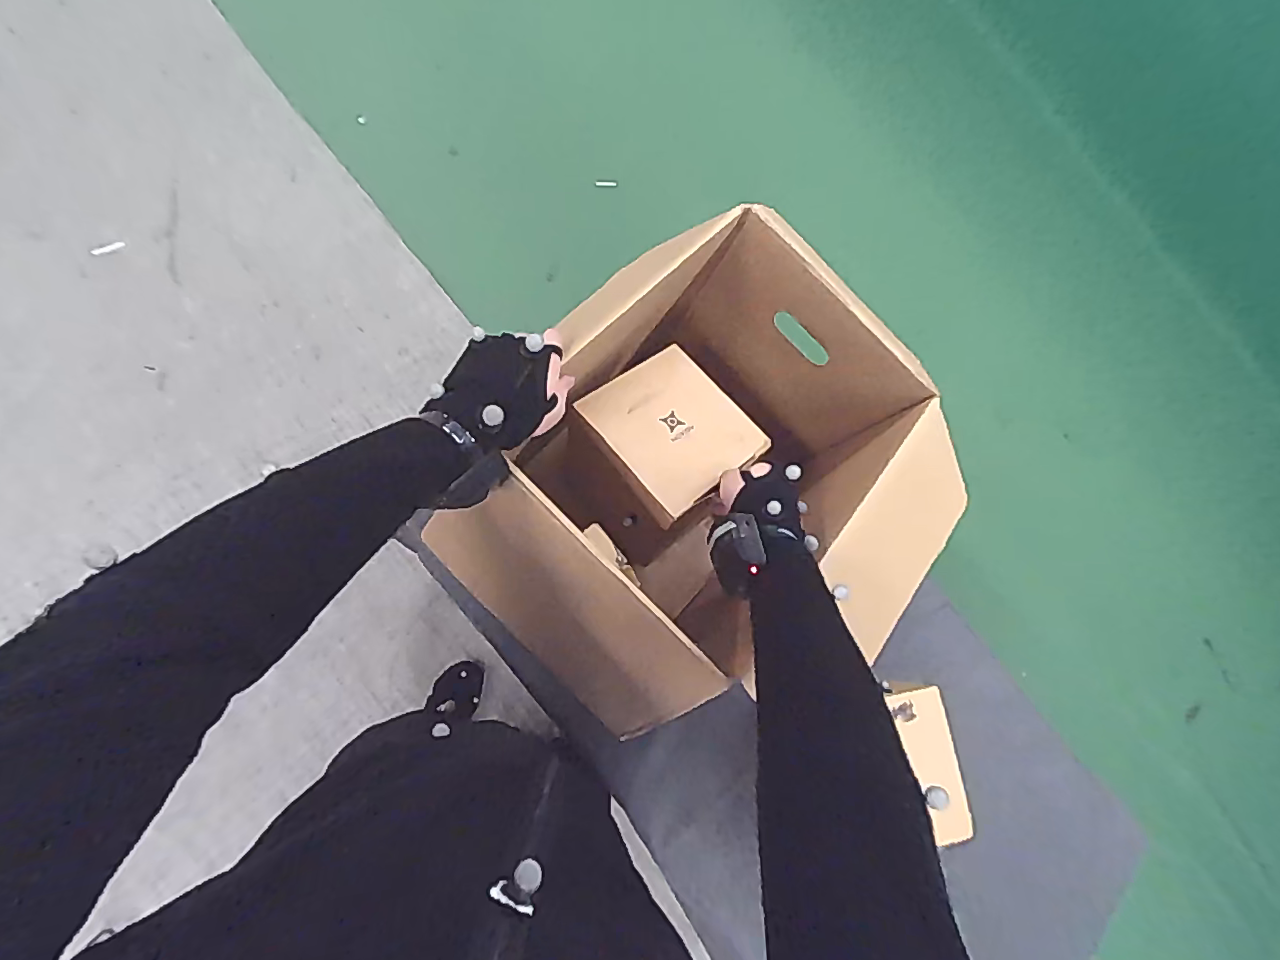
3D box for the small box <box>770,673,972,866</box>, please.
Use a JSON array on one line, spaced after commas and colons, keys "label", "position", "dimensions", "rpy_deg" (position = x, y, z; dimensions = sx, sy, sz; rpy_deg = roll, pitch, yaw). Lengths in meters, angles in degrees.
[{"label": "small box", "position": [0.292, 0.366, 0.719], "dimensions": [0.168, 0.176, 0.179], "rpy_deg": [-2, 77, -15]}]
